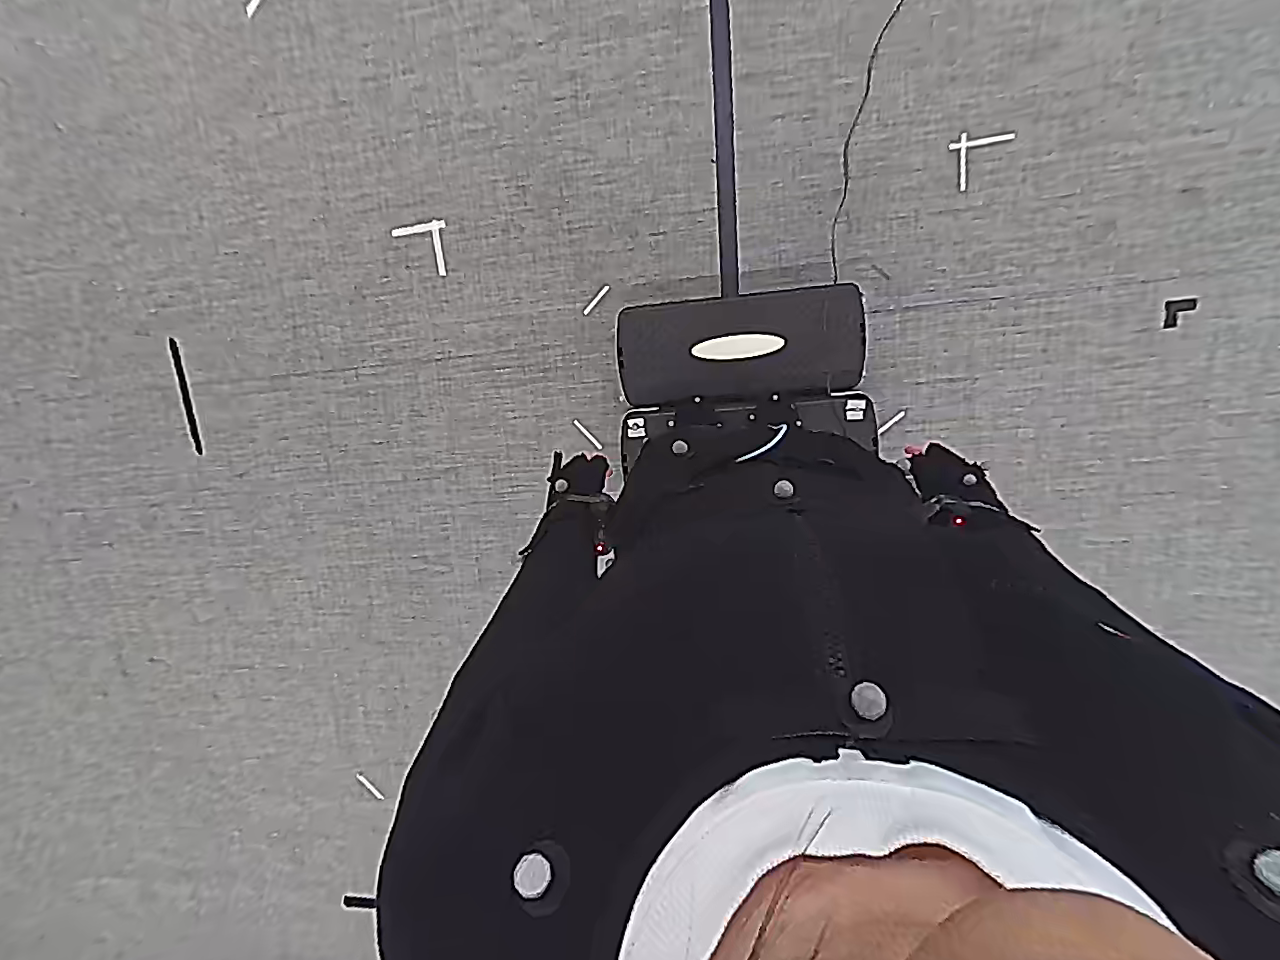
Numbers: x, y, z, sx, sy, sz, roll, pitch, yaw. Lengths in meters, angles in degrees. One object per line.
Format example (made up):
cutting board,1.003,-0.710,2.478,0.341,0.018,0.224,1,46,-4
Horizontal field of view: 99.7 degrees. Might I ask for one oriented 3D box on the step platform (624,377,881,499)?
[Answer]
step platform,0.297,-0.113,1.504,0.684,0.204,0.286,-4,99,10
